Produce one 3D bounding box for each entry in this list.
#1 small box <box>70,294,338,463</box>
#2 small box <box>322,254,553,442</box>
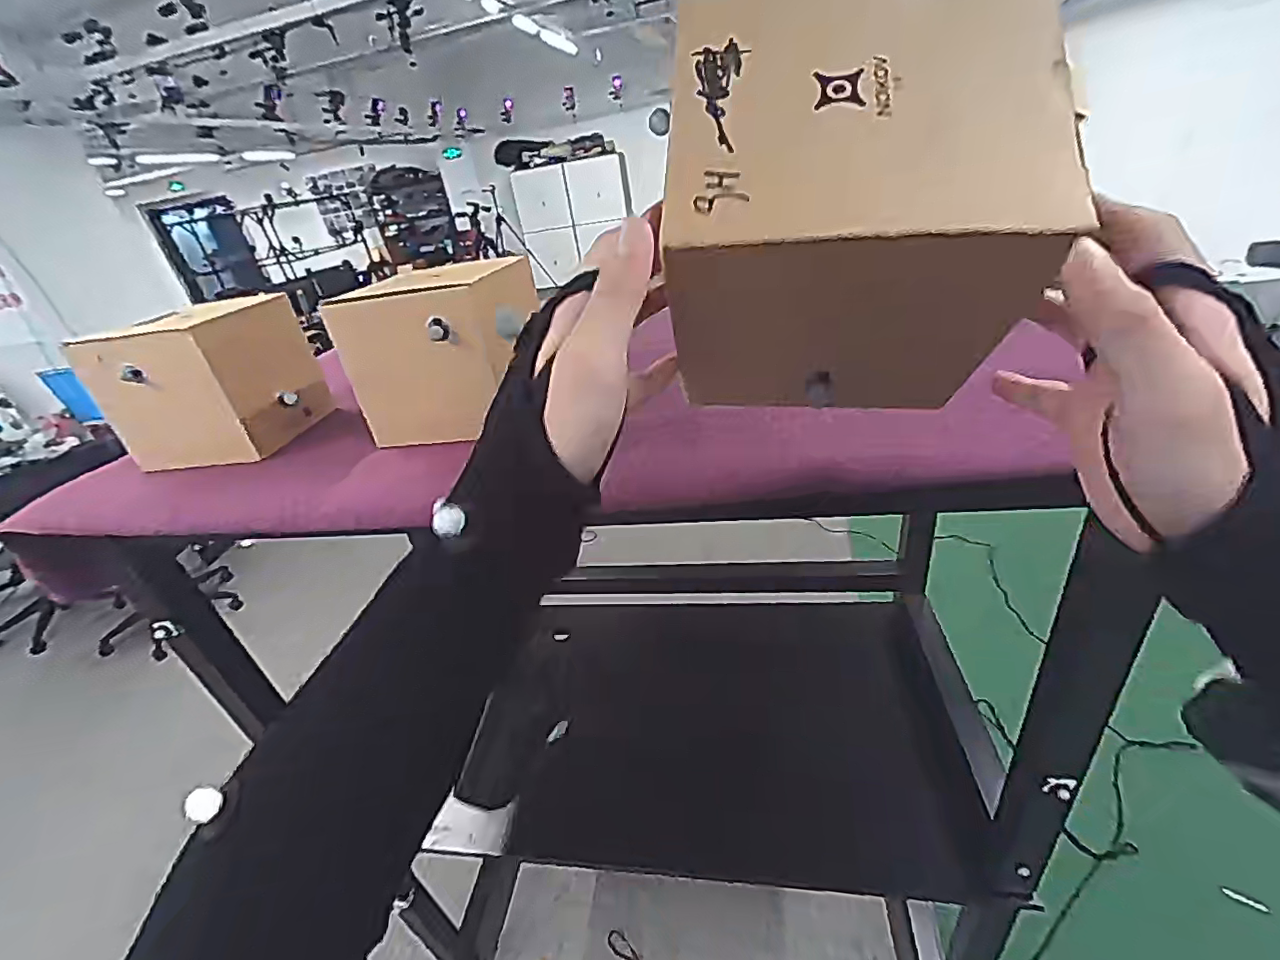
[{"bbox_3d":[-0.544,-0.131,0.704,0.179,0.176,0.168,-4,30,9],"label":"small box"},{"bbox_3d":[-0.220,-0.156,0.643,0.179,0.176,0.168,-3,29,13],"label":"small box"}]
